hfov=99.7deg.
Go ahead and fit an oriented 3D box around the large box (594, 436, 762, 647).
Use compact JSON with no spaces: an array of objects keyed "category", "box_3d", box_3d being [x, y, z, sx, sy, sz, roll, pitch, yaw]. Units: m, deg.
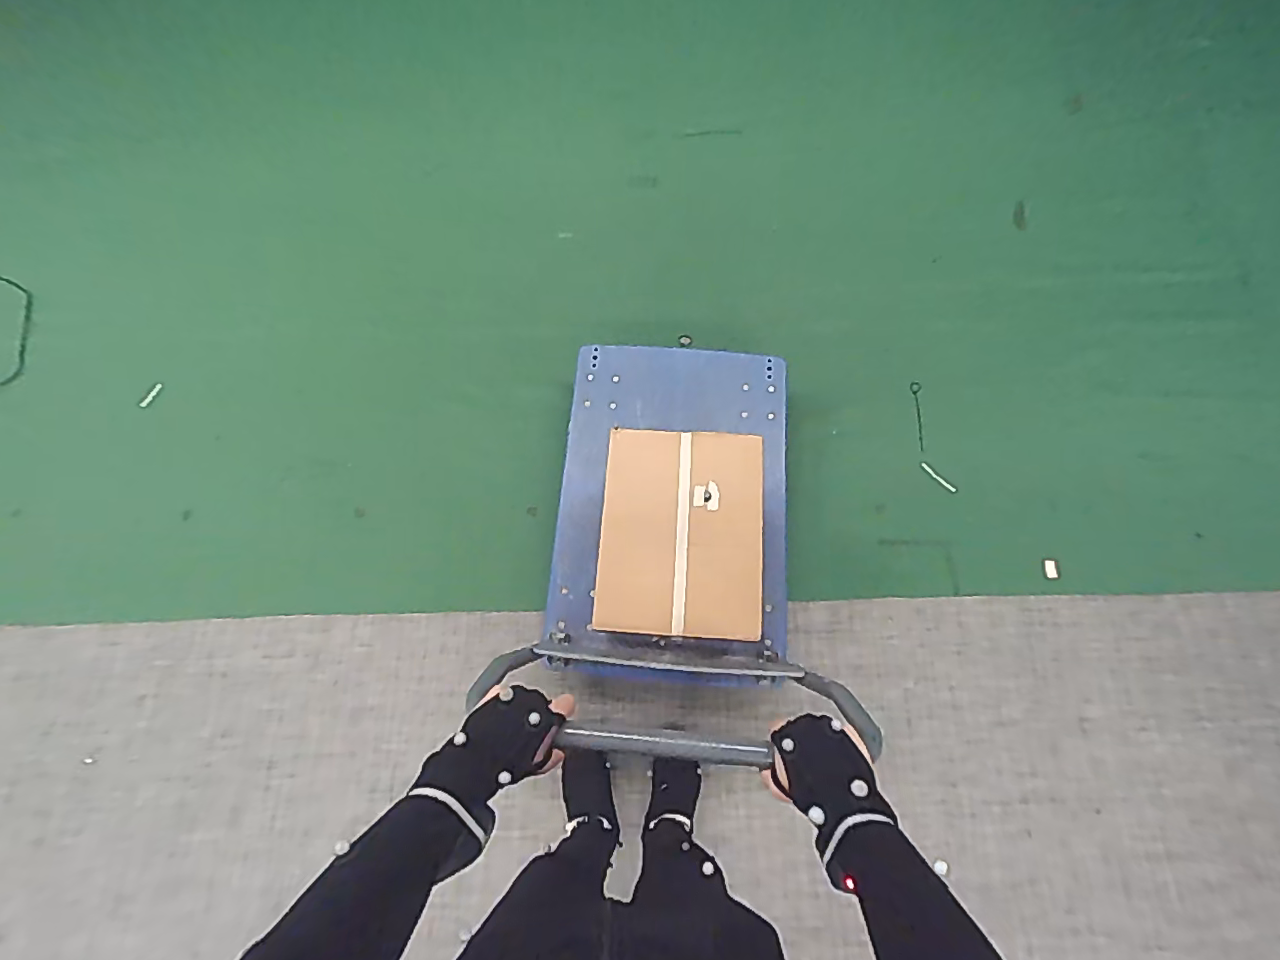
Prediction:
[{"category":"large box","box_3d":[0.085,0.151,1.192,0.320,0.320,0.408,4,72,2]}]
